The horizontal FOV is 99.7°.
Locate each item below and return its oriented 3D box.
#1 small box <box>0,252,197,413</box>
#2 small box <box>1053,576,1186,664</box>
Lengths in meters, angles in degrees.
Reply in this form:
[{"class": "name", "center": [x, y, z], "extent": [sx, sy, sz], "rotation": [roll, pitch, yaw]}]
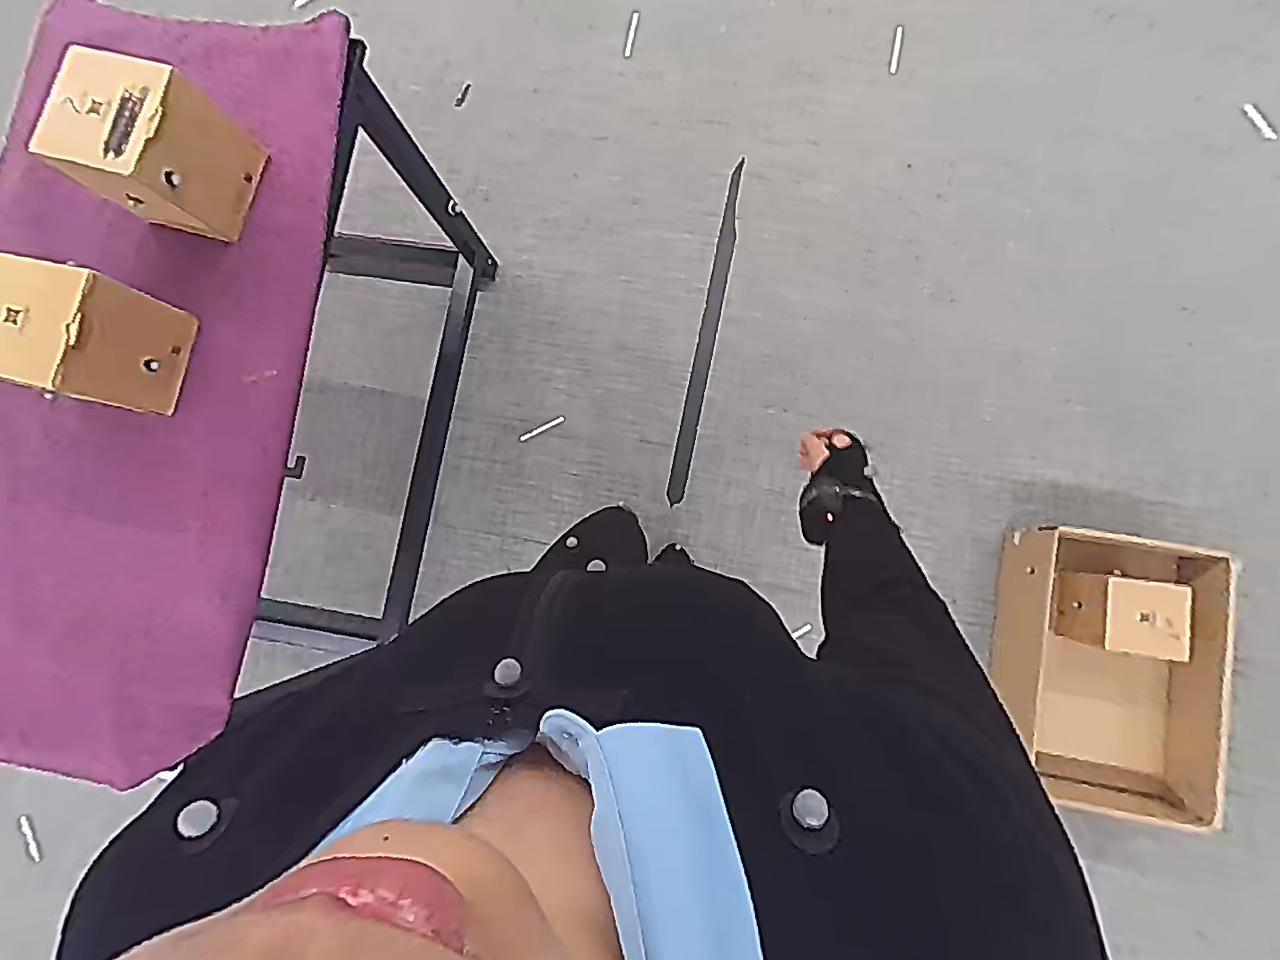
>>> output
[{"class": "small box", "center": [-0.814, -0.205, 0.788], "extent": [0.179, 0.176, 0.168], "rotation": [12, 85, 5]}, {"class": "small box", "center": [1.128, 0.324, 1.285], "extent": [0.179, 0.176, 0.168], "rotation": [8, 85, 5]}]
